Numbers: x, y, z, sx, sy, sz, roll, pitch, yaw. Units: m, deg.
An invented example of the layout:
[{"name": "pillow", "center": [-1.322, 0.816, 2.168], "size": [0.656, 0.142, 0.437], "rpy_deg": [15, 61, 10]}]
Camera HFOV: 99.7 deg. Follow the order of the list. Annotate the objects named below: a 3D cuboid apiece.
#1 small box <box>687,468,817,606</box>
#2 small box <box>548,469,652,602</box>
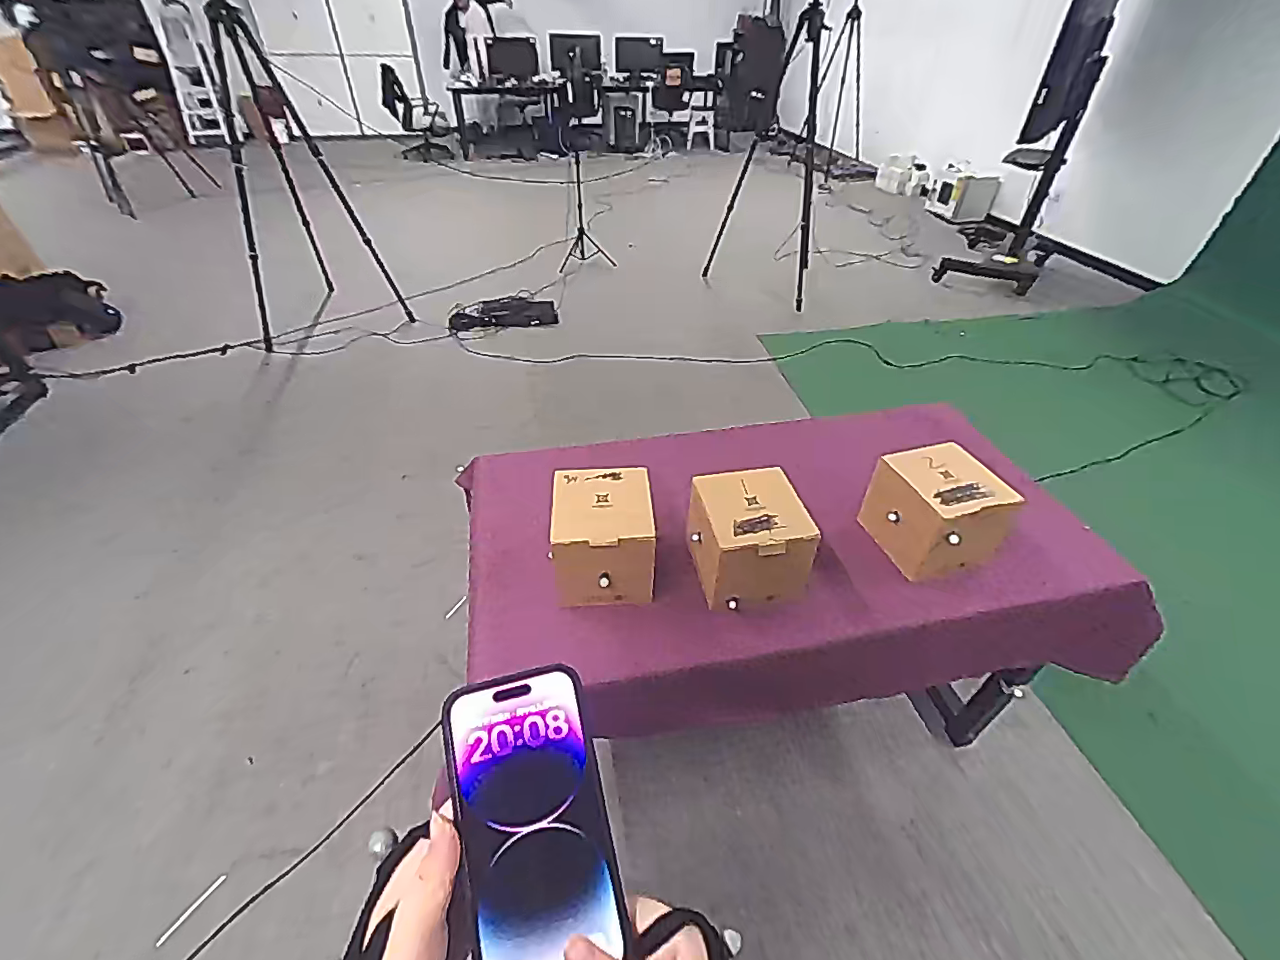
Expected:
[{"name": "small box", "center": [0.184, 0.104, 0.947], "size": [0.168, 0.176, 0.179], "rpy_deg": [-7, 41, -9]}, {"name": "small box", "center": [-0.066, 0.101, 0.948], "size": [0.168, 0.176, 0.179], "rpy_deg": [-2, 42, -3]}]
